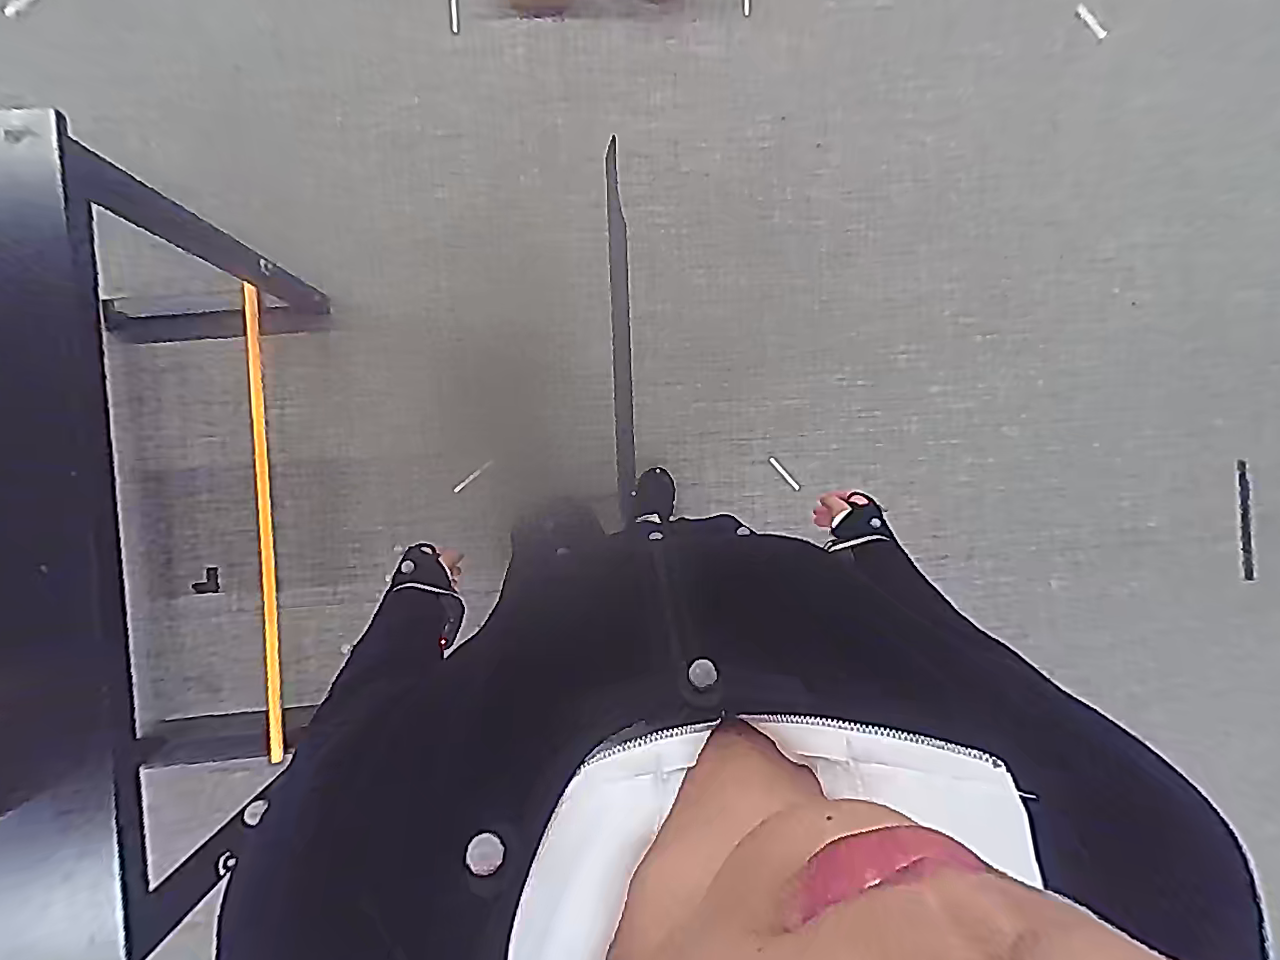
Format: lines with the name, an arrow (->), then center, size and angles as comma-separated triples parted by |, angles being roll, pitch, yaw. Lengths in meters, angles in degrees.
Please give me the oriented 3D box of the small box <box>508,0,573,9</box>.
small box -> -0.271, -1.360, 1.388 | 0.179, 0.176, 0.168 | -5, 91, -4
